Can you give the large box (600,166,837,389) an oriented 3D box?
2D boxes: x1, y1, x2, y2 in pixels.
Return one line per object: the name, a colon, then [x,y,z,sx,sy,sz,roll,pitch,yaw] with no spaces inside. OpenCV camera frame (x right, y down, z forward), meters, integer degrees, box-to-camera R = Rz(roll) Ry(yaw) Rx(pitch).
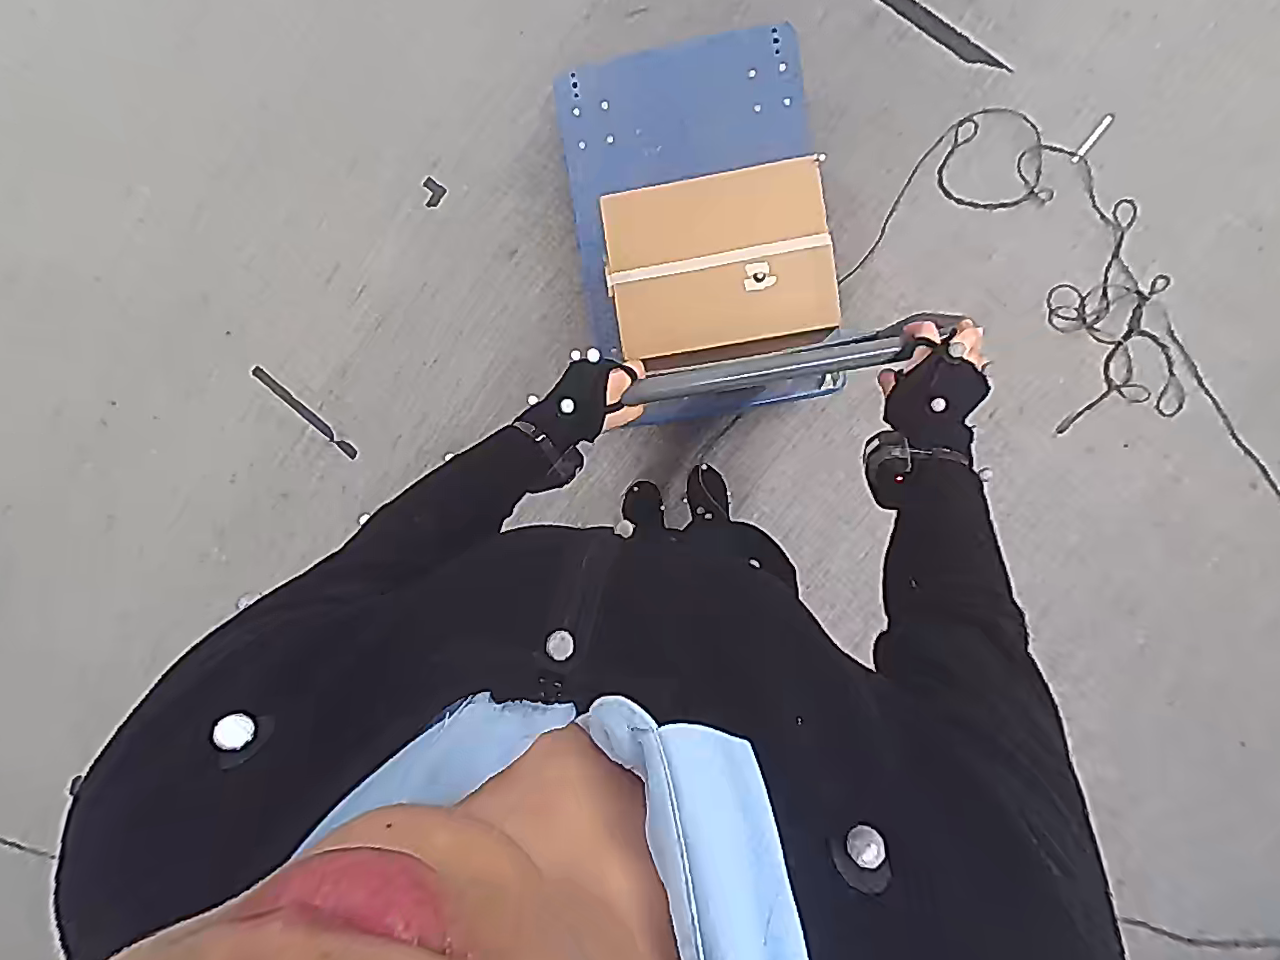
large box: [0.152,-0.396,1.148,0.408,0.320,0.320,-9,92,4]
